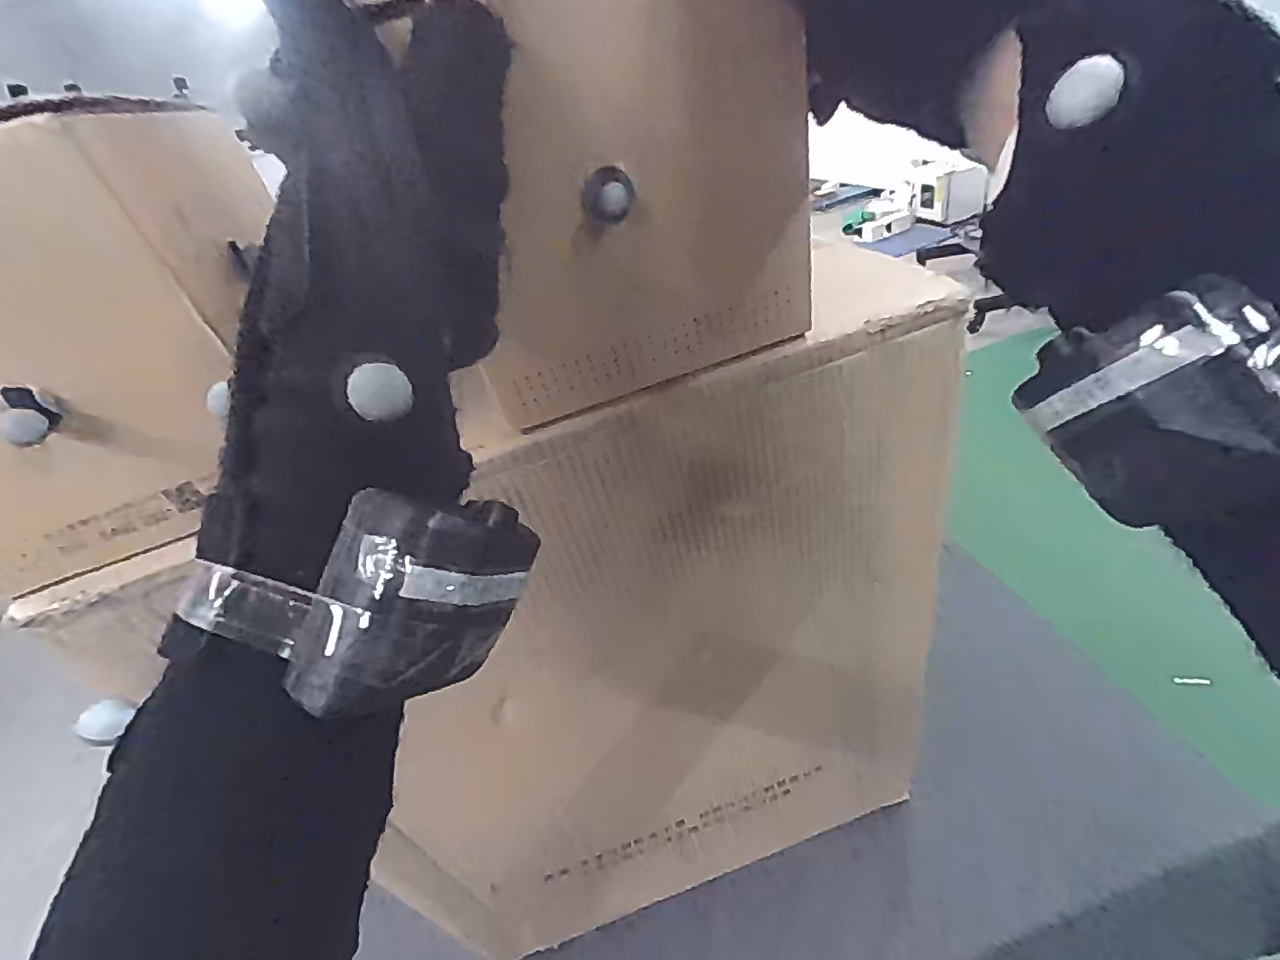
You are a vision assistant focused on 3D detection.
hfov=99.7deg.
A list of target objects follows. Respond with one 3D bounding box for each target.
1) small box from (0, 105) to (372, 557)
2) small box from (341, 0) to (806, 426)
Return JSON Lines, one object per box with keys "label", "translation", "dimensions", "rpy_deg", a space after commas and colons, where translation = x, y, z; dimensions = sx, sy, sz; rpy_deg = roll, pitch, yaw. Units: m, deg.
{"label": "small box", "translation": [-0.274, -0.080, 0.297], "dimensions": [0.168, 0.176, 0.179], "rpy_deg": [-20, 38, -4]}
{"label": "small box", "translation": [-0.024, -0.157, 0.302], "dimensions": [0.179, 0.176, 0.168], "rpy_deg": [-20, 37, -4]}
